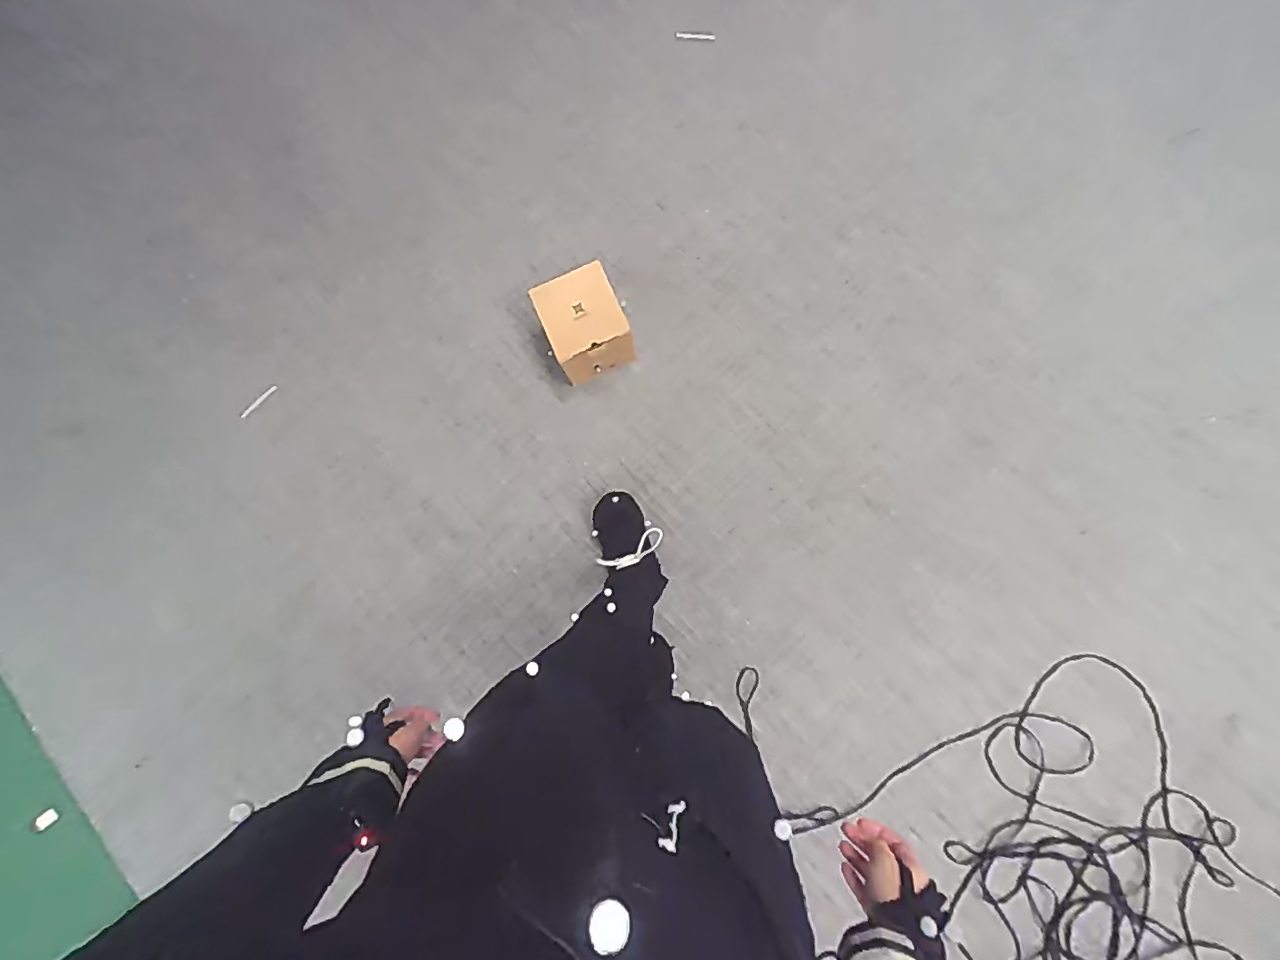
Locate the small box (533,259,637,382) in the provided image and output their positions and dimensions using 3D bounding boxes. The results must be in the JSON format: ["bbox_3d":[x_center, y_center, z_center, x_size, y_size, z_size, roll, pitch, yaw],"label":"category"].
[{"bbox_3d":[-0.116,-0.344,1.198,0.168,0.176,0.179,-24,82,0],"label":"small box"}]
